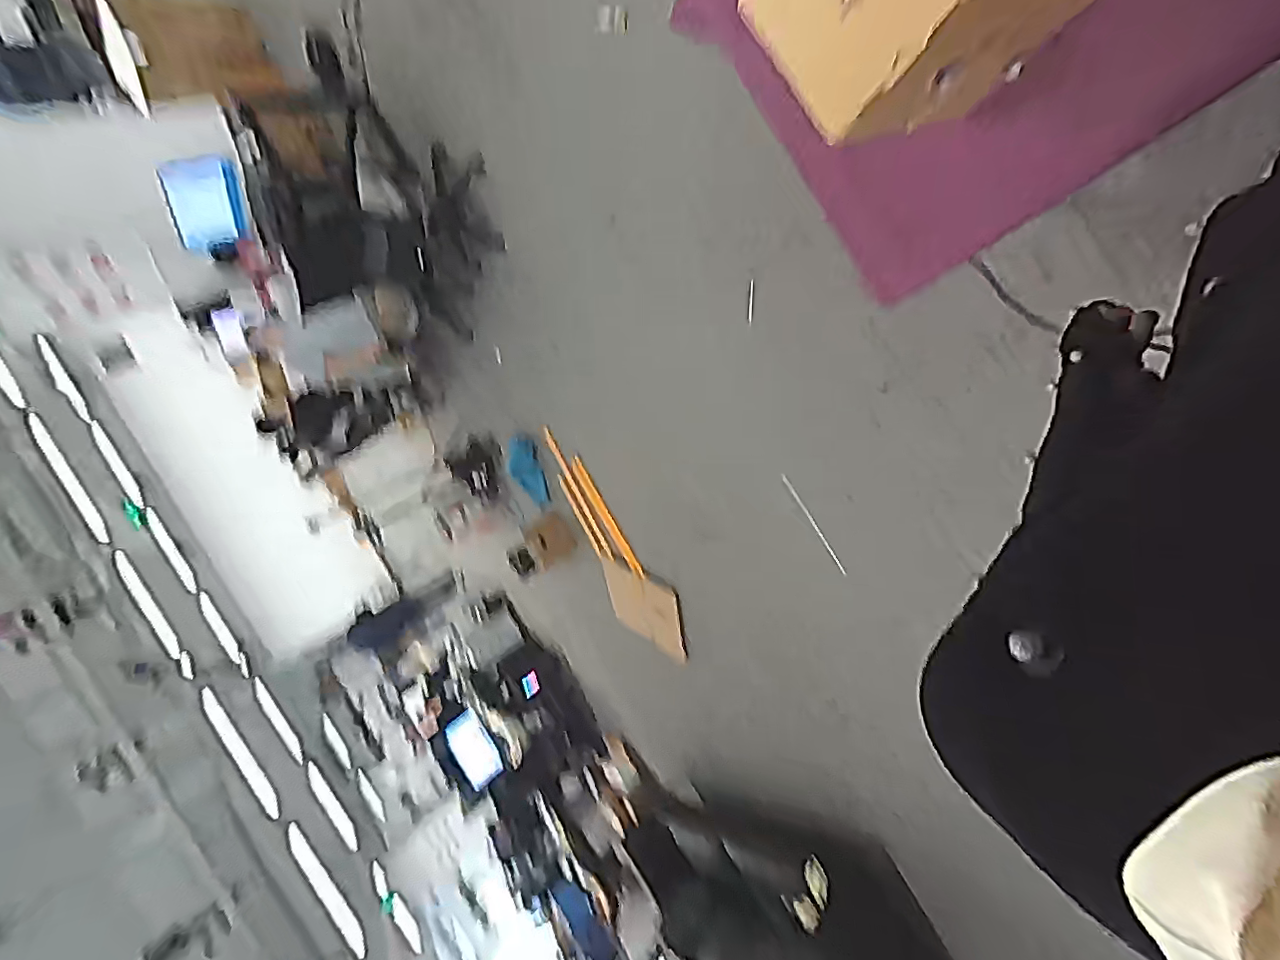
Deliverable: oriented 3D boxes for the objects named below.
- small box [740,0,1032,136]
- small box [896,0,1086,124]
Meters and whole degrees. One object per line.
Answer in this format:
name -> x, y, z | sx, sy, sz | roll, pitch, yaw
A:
small box -> 0.238, -0.470, 0.517 | 0.179, 0.176, 0.168 | 56, 147, 2
small box -> 0.355, -0.541, 0.606 | 0.179, 0.176, 0.168 | 57, 147, 1
